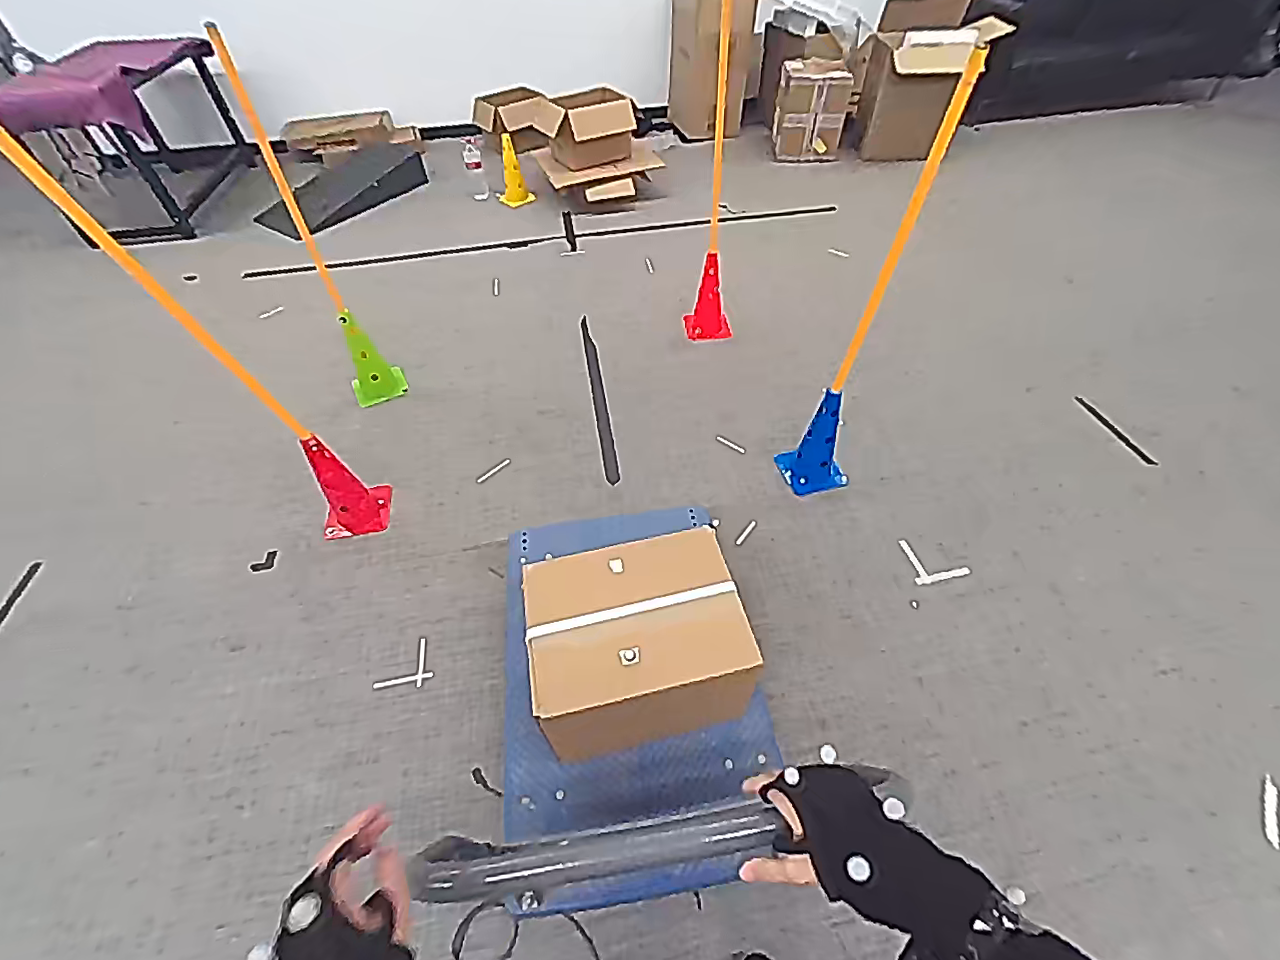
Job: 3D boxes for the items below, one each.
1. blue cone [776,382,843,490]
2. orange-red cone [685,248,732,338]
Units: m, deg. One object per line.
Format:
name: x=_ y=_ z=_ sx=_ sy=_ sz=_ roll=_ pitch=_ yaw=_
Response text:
blue cone: x=0.589 y=-0.155 z=1.765 sx=0.193 sy=0.380 sz=0.192 roll=-11 pitch=49 yaw=-8
orange-red cone: x=0.305 y=-0.816 z=2.323 sx=0.199 sy=0.360 sz=0.198 roll=-3 pitch=50 yaw=-2
